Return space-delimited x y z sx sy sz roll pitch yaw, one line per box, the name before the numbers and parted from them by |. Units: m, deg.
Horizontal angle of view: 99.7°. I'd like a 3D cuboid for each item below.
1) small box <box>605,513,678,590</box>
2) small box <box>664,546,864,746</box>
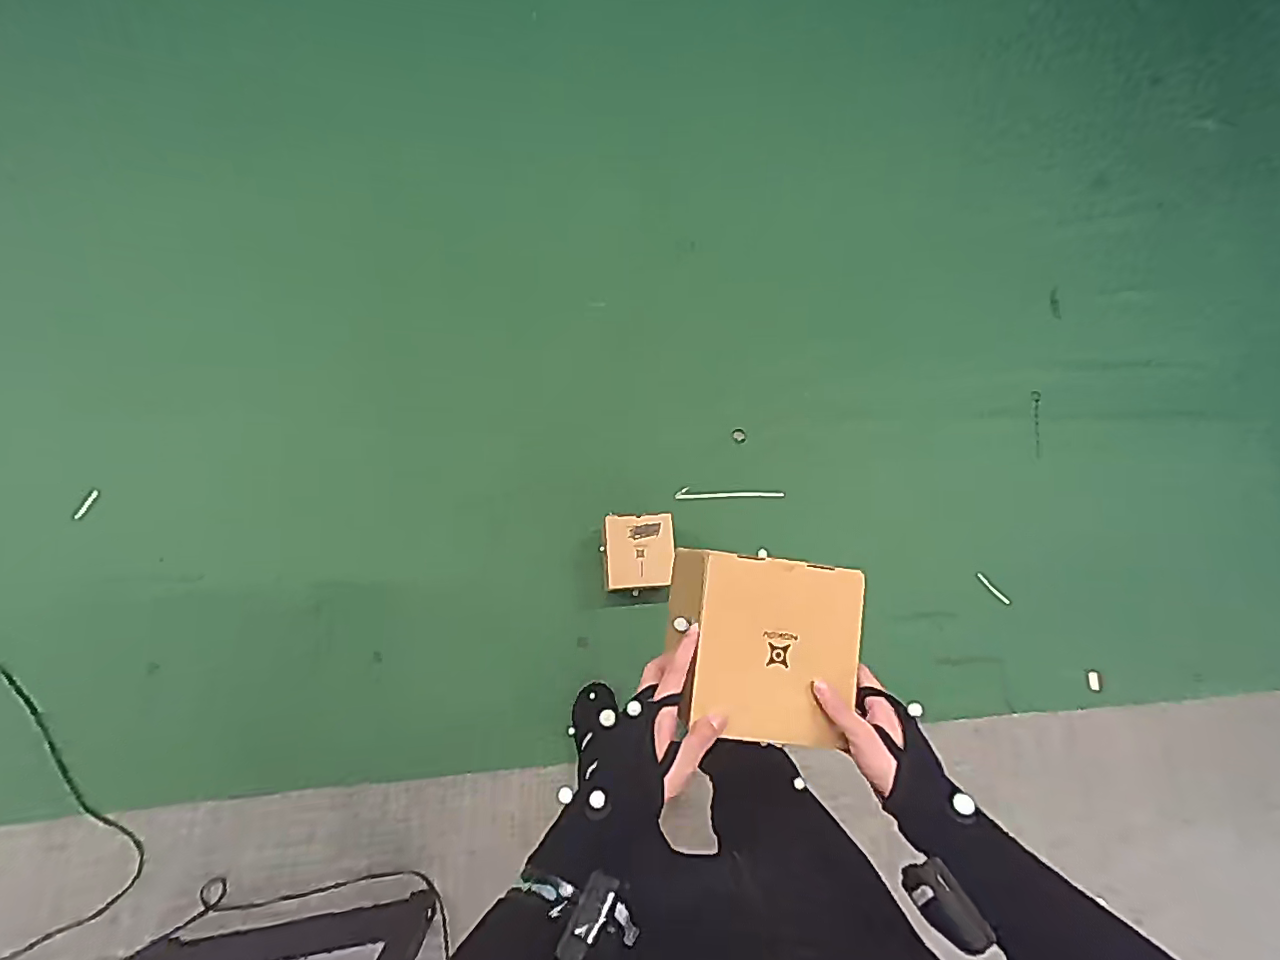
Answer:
small box | 0.000 0.185 1.375 0.168 0.176 0.179 -2 78 -7
small box | 0.126 0.172 0.609 0.168 0.176 0.179 9 82 -6
